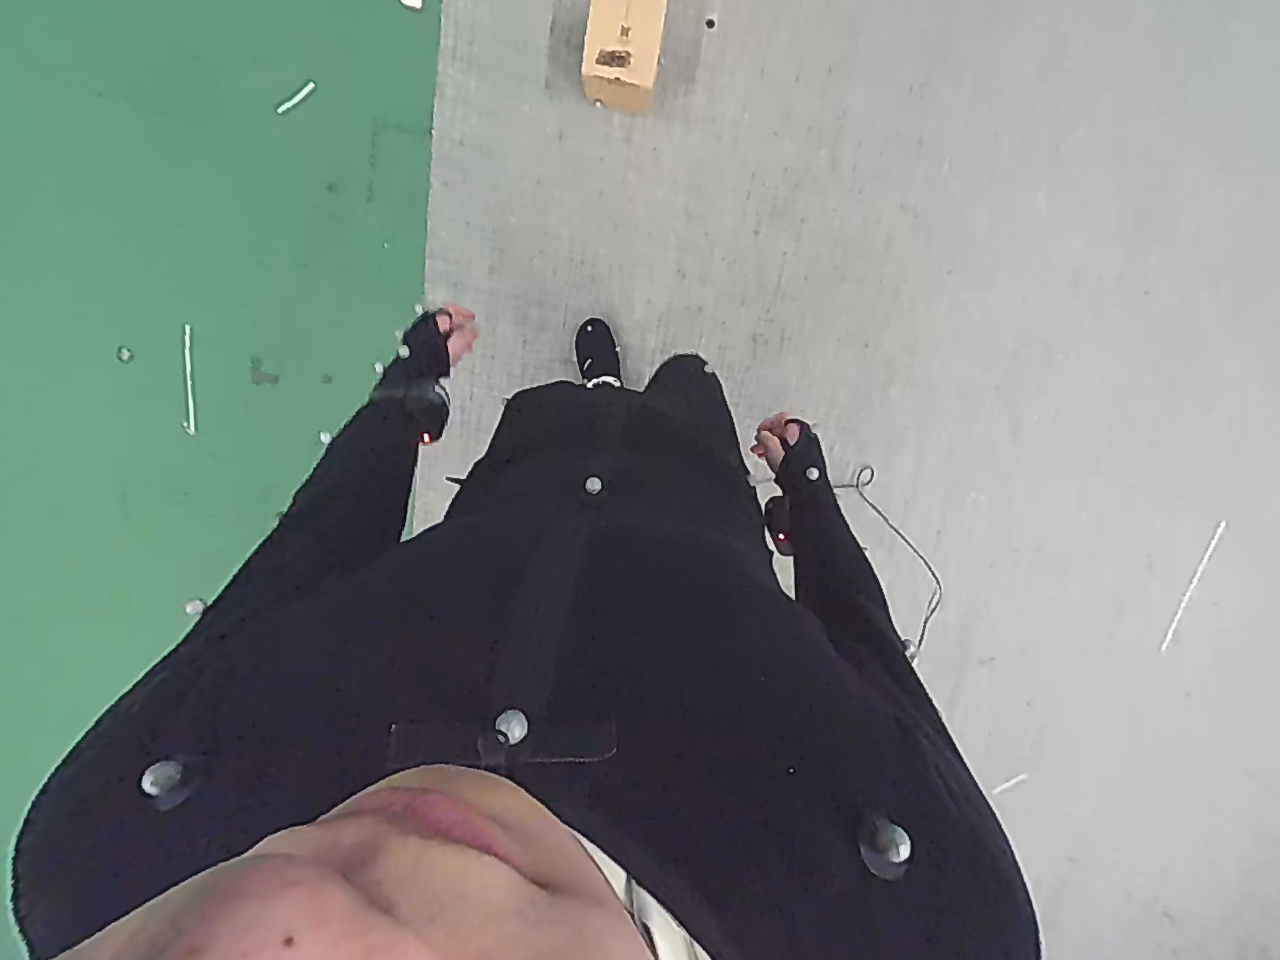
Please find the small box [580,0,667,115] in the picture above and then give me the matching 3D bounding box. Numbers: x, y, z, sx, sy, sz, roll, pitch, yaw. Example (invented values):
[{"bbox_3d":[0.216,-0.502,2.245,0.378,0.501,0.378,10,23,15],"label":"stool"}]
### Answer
[{"bbox_3d":[-0.037,-0.985,1.255,0.168,0.176,0.179,10,105,-4],"label":"small box"}]
